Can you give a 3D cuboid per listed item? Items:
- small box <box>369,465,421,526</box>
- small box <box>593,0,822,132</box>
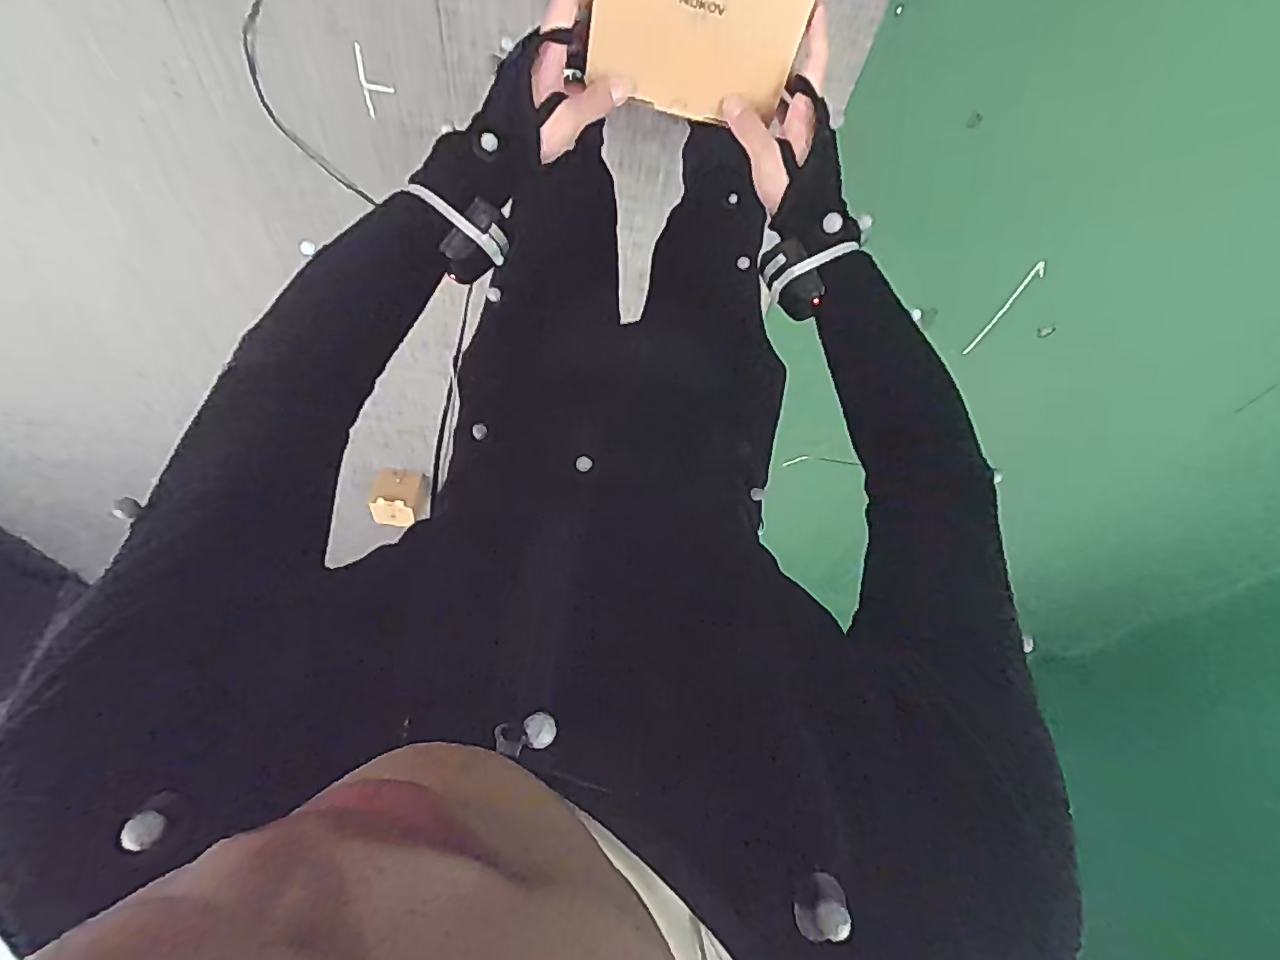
[{"bbox_3d":[-1.008,0.065,2.230,0.168,0.176,0.179,11,143,-17],"label":"small box"},{"bbox_3d":[0.060,-0.436,0.450,0.168,0.176,0.179,10,143,-8],"label":"small box"}]
